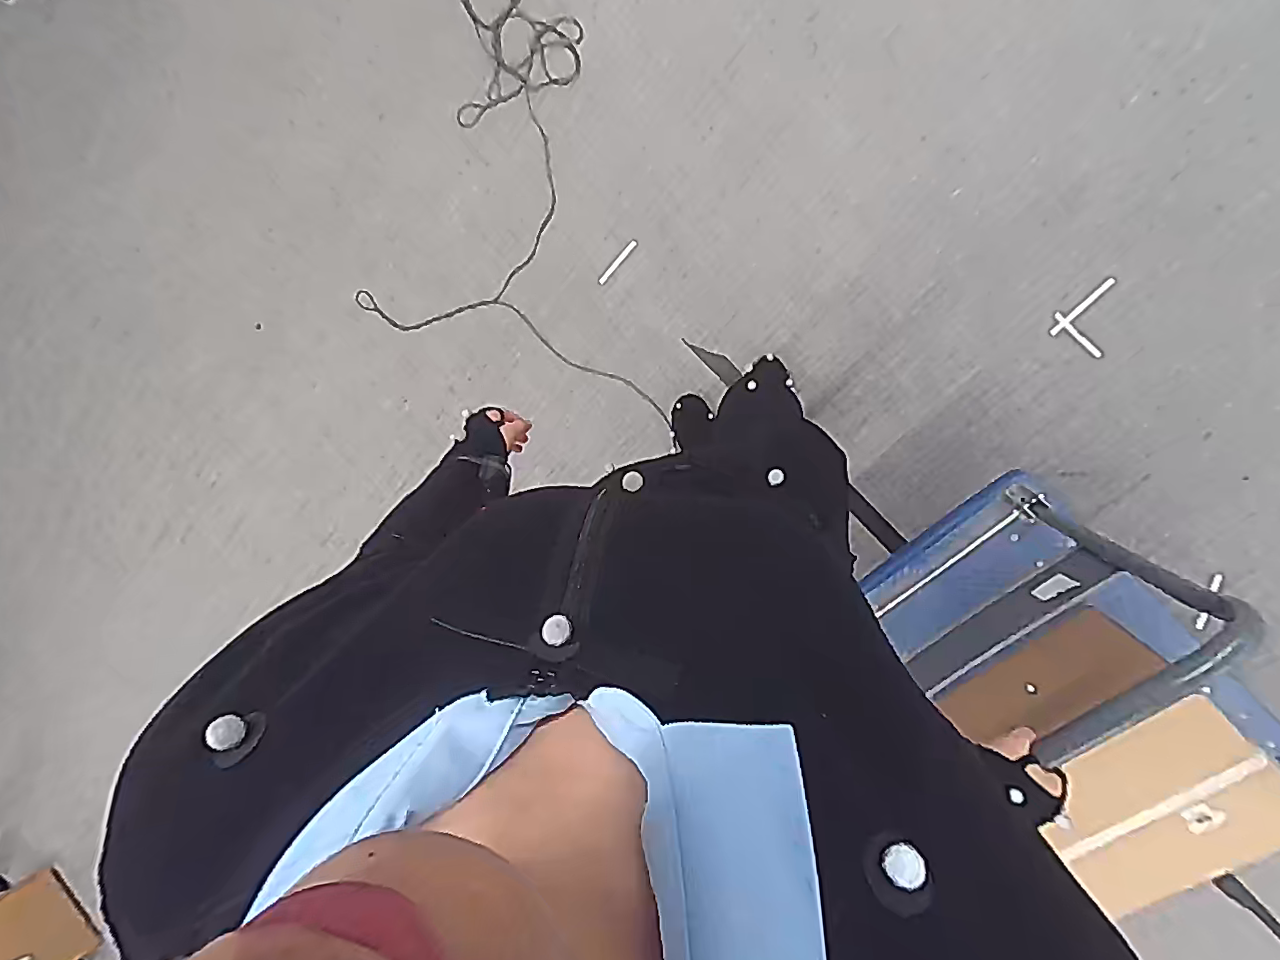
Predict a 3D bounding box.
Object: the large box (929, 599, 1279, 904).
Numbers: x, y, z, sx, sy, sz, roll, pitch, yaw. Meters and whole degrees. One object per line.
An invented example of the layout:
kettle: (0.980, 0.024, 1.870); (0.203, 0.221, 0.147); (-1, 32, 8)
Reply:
large box: (0.889, 0.522, 1.094); (0.320, 0.320, 0.408); (46, 107, 1)
